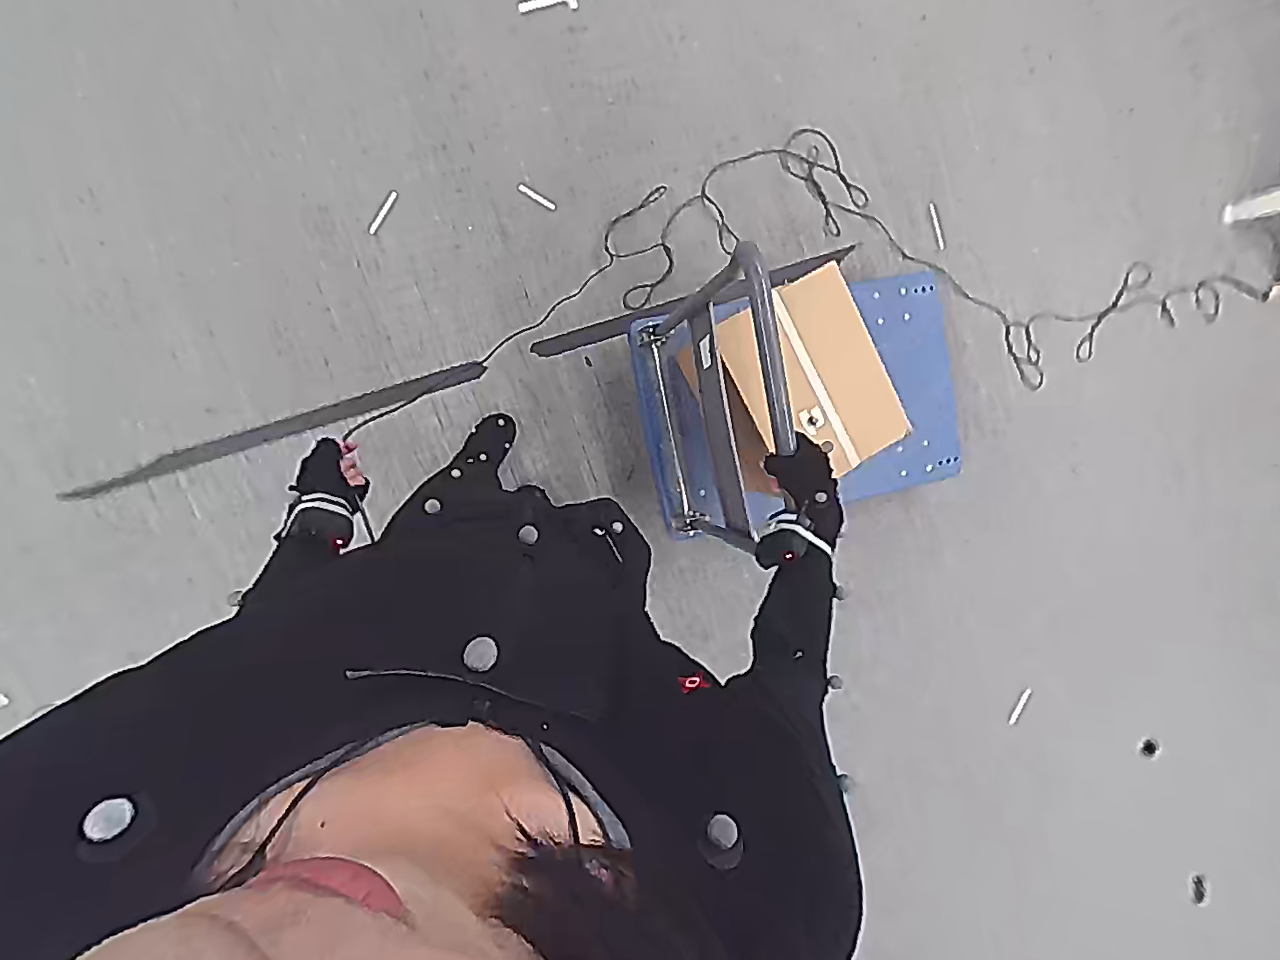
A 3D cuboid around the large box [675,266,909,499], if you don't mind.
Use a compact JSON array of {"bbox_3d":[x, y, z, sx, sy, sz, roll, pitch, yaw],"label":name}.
[{"bbox_3d":[0.335,-0.213,1.274,0.320,0.320,0.408,-30,99,-6],"label":"large box"}]
